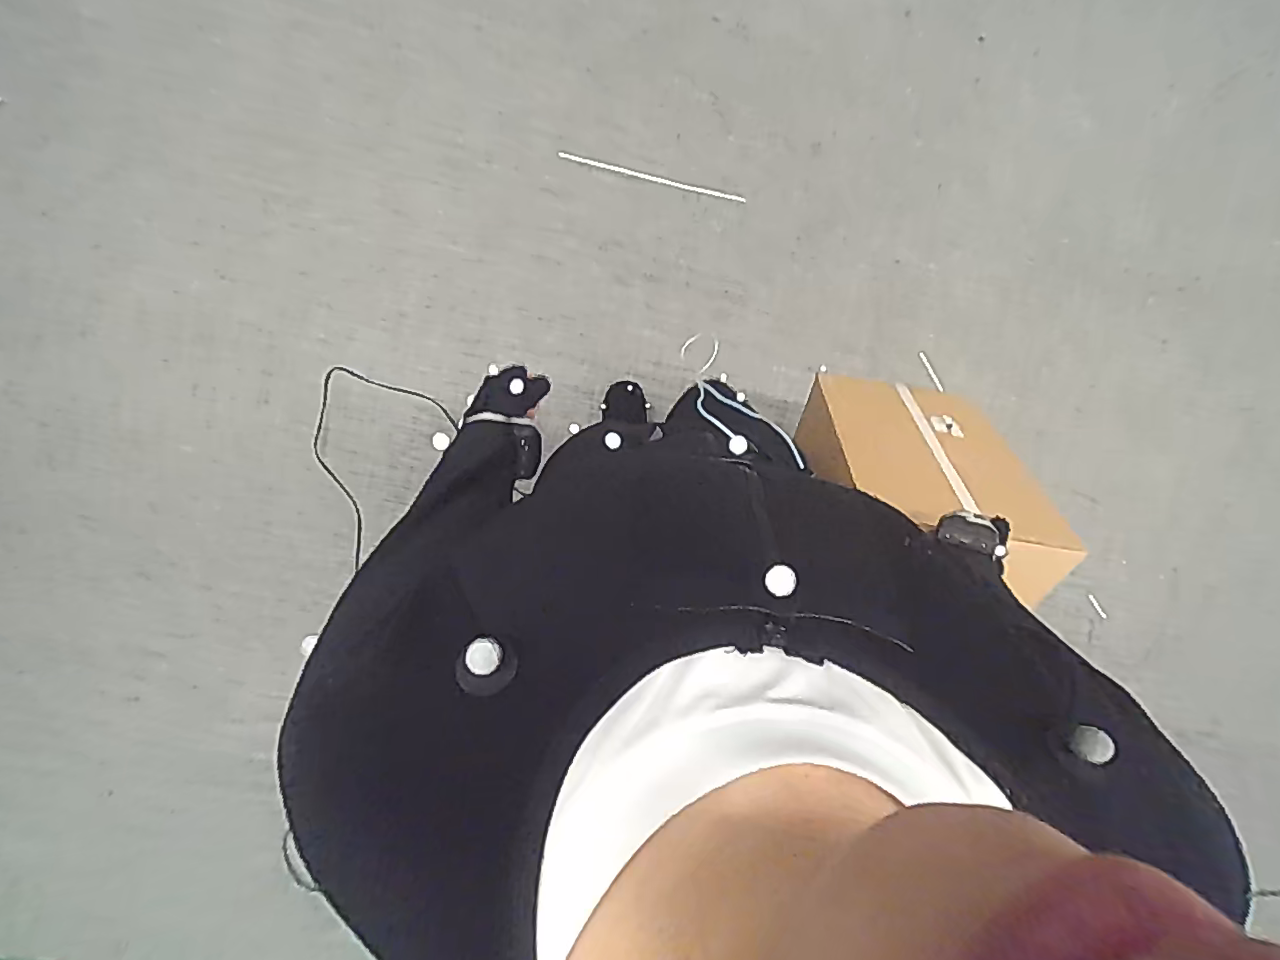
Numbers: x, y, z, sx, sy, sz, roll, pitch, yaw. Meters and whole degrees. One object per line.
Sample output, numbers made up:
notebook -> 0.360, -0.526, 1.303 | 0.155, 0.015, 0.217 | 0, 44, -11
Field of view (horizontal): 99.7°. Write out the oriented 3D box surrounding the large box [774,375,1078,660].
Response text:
large box -> 0.452, 0.059, 0.984 | 0.320, 0.408, 0.320 | 10, 130, -2
